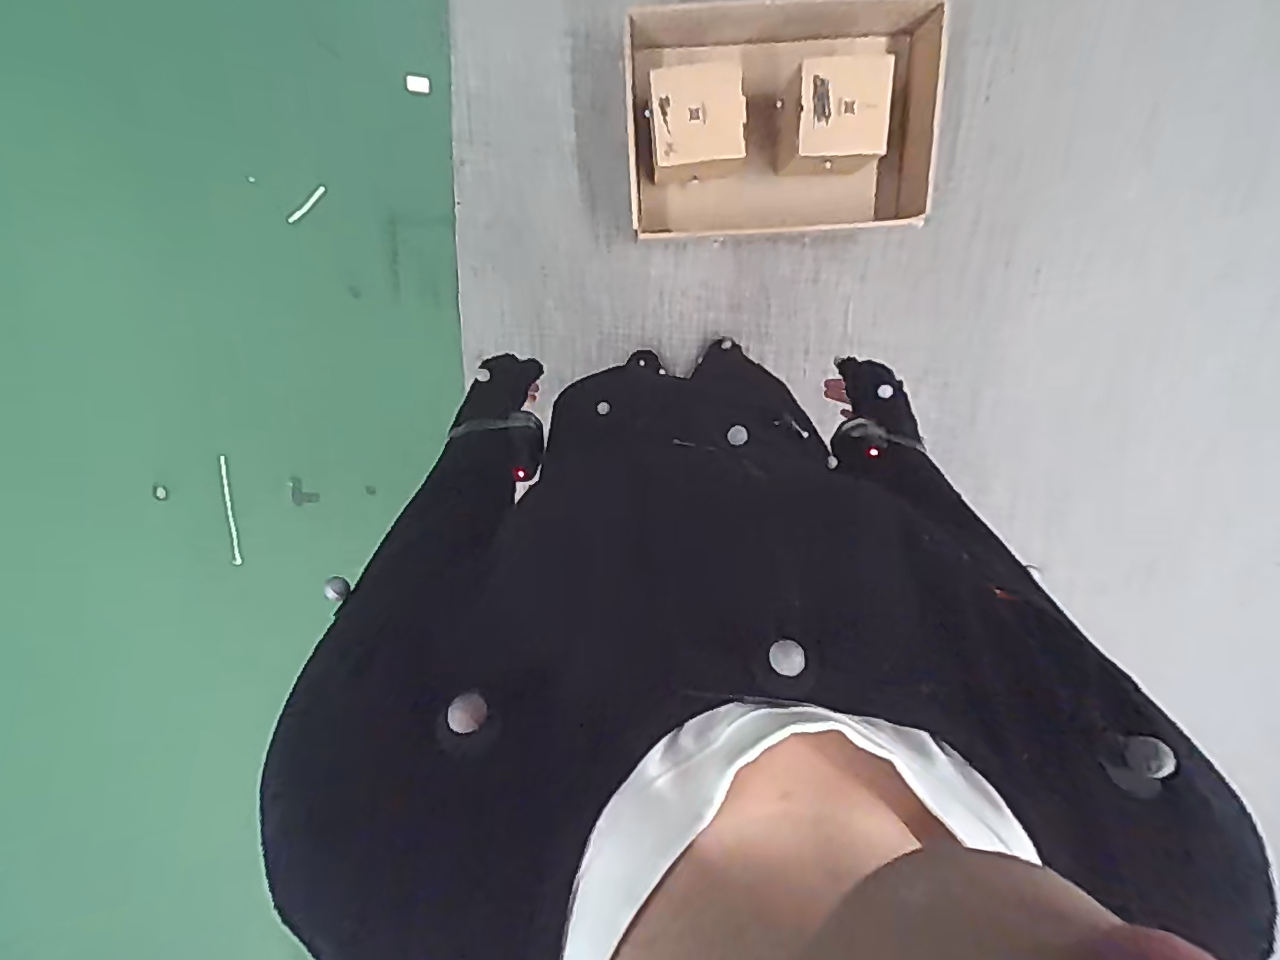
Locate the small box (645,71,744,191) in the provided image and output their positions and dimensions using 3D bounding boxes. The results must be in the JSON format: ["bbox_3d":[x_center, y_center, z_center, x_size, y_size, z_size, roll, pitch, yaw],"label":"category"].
[{"bbox_3d":[0.108,-0.714,1.122,0.179,0.176,0.168,-6,106,-1],"label":"small box"}]

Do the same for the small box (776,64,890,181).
[{"bbox_3d":[0.388,-0.730,1.122,0.179,0.176,0.168,-1,107,0],"label":"small box"}]
